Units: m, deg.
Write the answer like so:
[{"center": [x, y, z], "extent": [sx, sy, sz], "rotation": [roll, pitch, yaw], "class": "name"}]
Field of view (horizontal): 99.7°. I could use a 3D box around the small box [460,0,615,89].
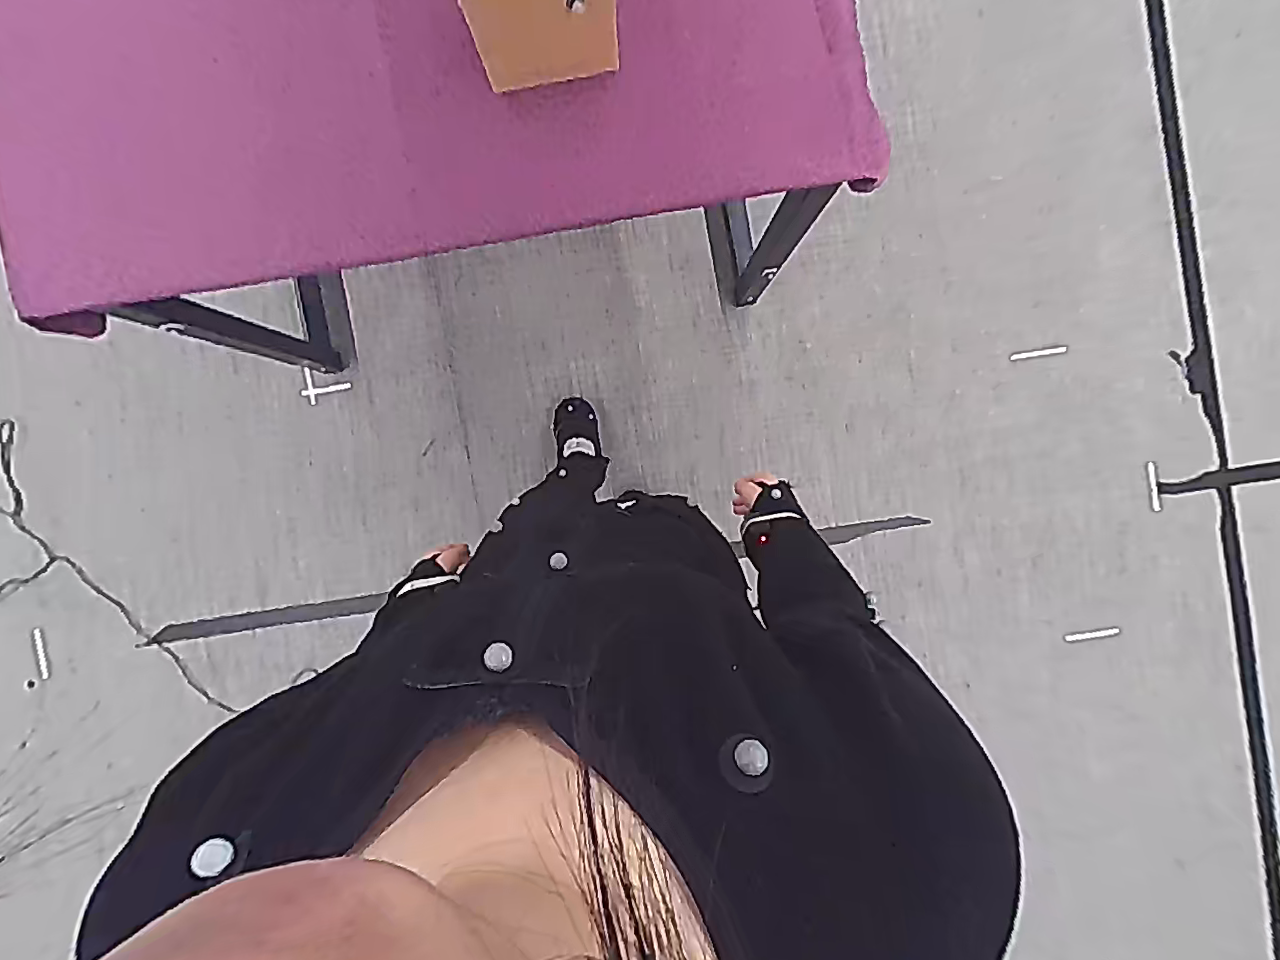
[{"center": [-0.127, -0.621, 0.655], "extent": [0.179, 0.176, 0.168], "rotation": [-11, 91, 1], "class": "small box"}]
